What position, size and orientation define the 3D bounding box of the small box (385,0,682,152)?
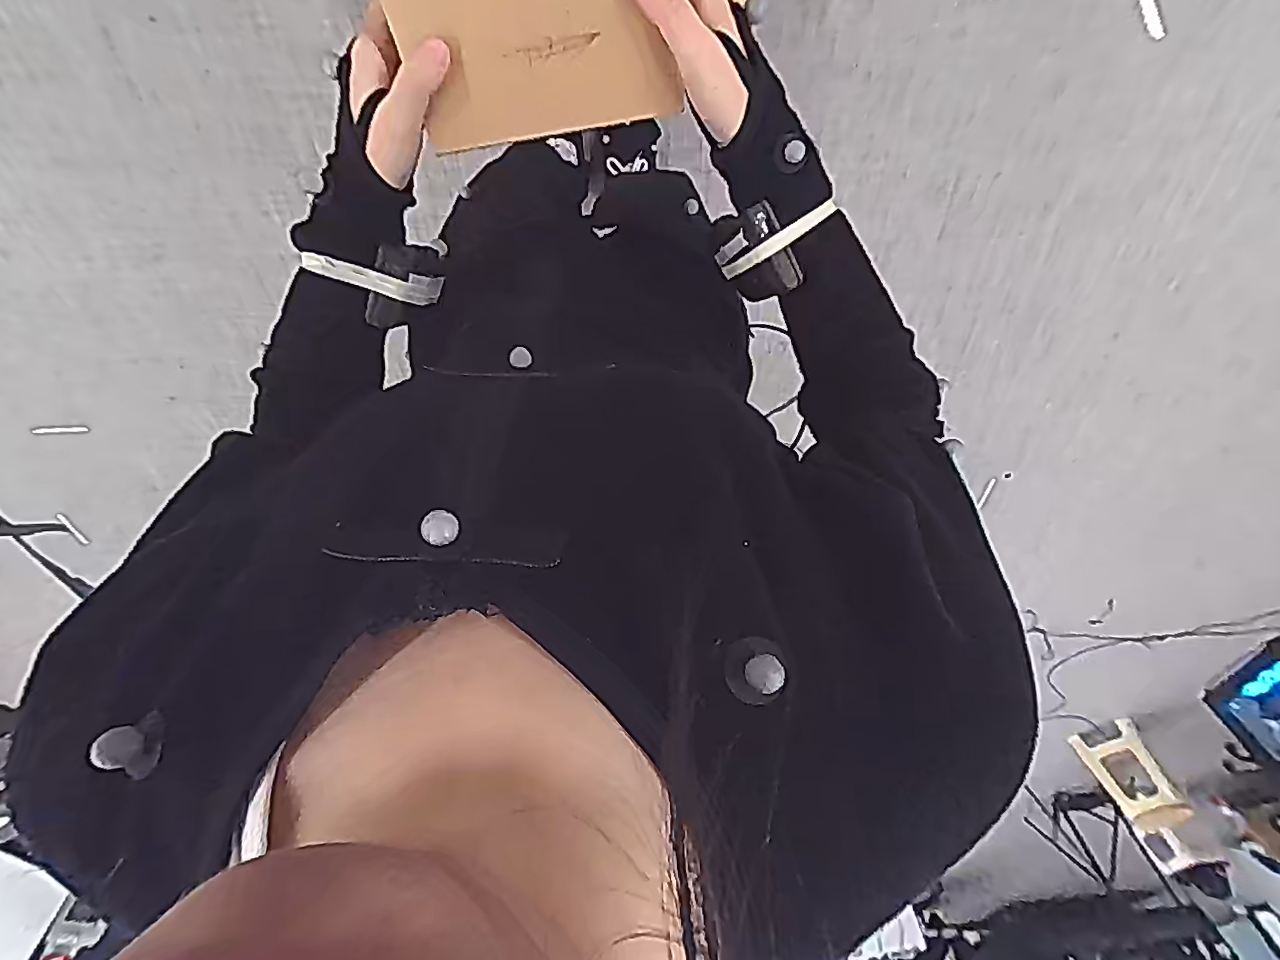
[{"bbox_3d":[-0.067,-0.341,0.348,0.168,0.176,0.179,-7,135,4],"label":"small box"}]
